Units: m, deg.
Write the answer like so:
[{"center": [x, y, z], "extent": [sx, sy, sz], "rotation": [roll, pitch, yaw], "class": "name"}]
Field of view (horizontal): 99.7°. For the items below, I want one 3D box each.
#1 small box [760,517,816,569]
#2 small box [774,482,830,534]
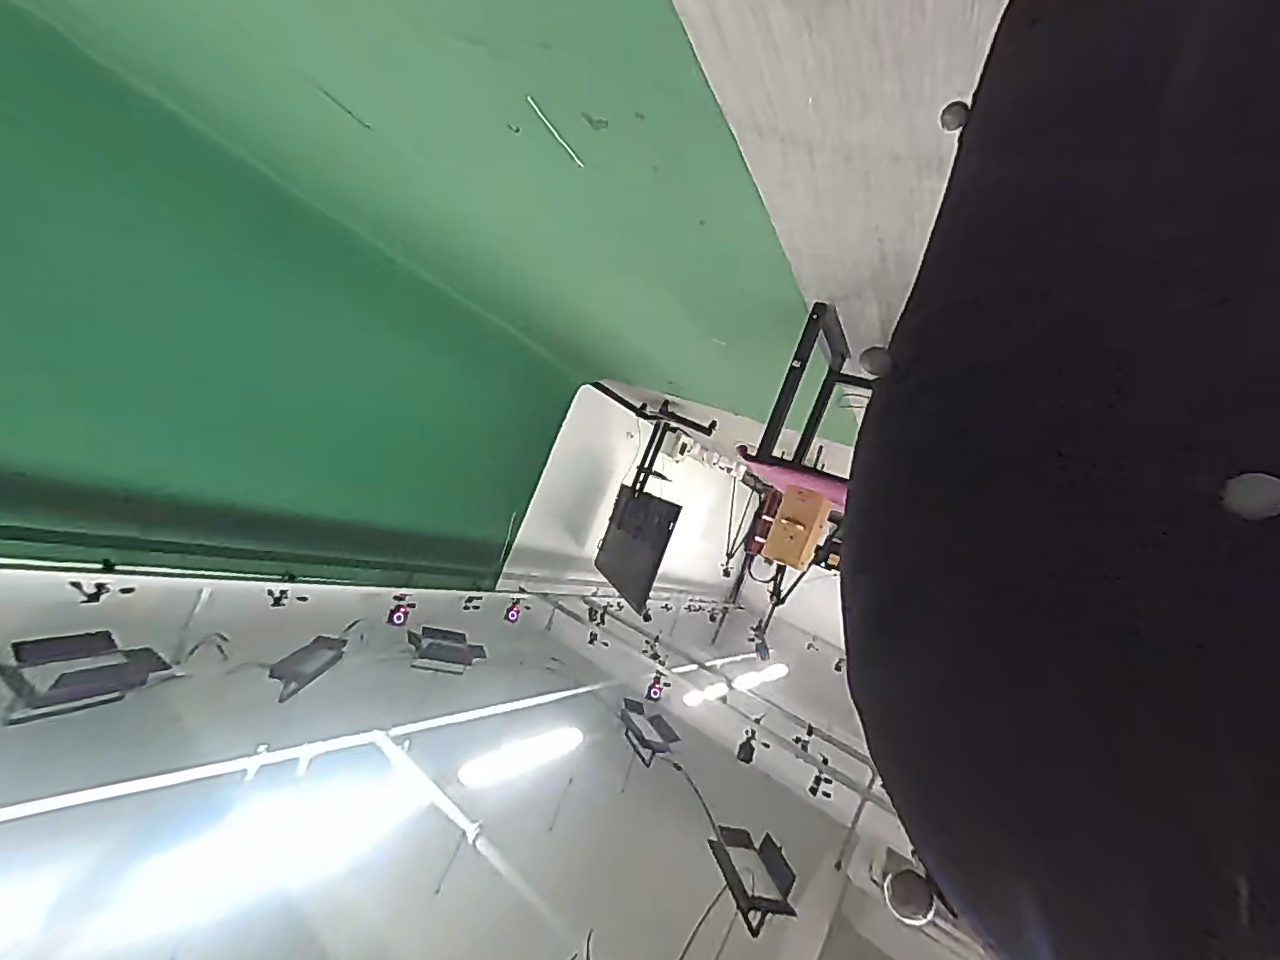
[{"center": [0.653, 0.273, 2.361], "extent": [0.168, 0.176, 0.179], "rotation": [21, 178, 32], "class": "small box"}, {"center": [0.713, 0.121, 2.358], "extent": [0.168, 0.176, 0.179], "rotation": [20, 178, 32], "class": "small box"}]
